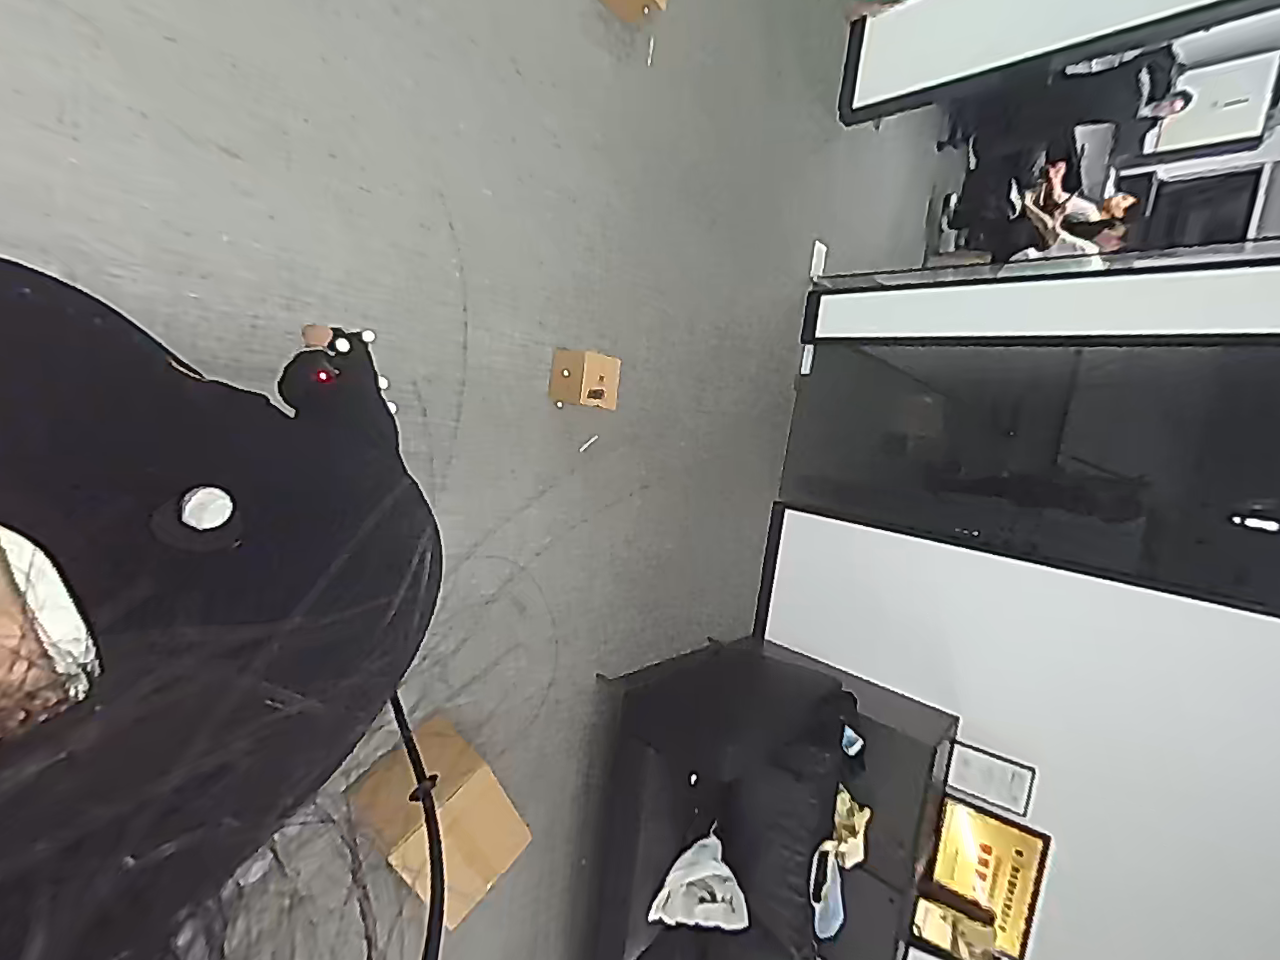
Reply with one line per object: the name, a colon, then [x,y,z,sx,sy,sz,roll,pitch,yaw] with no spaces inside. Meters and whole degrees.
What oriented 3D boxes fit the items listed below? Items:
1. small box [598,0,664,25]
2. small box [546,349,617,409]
small box: [-0.030,-1.599,1.716,0.179,0.176,0.168,10,92,-48]
small box: [-0.207,-0.349,1.864,0.168,0.176,0.179,3,97,-48]
